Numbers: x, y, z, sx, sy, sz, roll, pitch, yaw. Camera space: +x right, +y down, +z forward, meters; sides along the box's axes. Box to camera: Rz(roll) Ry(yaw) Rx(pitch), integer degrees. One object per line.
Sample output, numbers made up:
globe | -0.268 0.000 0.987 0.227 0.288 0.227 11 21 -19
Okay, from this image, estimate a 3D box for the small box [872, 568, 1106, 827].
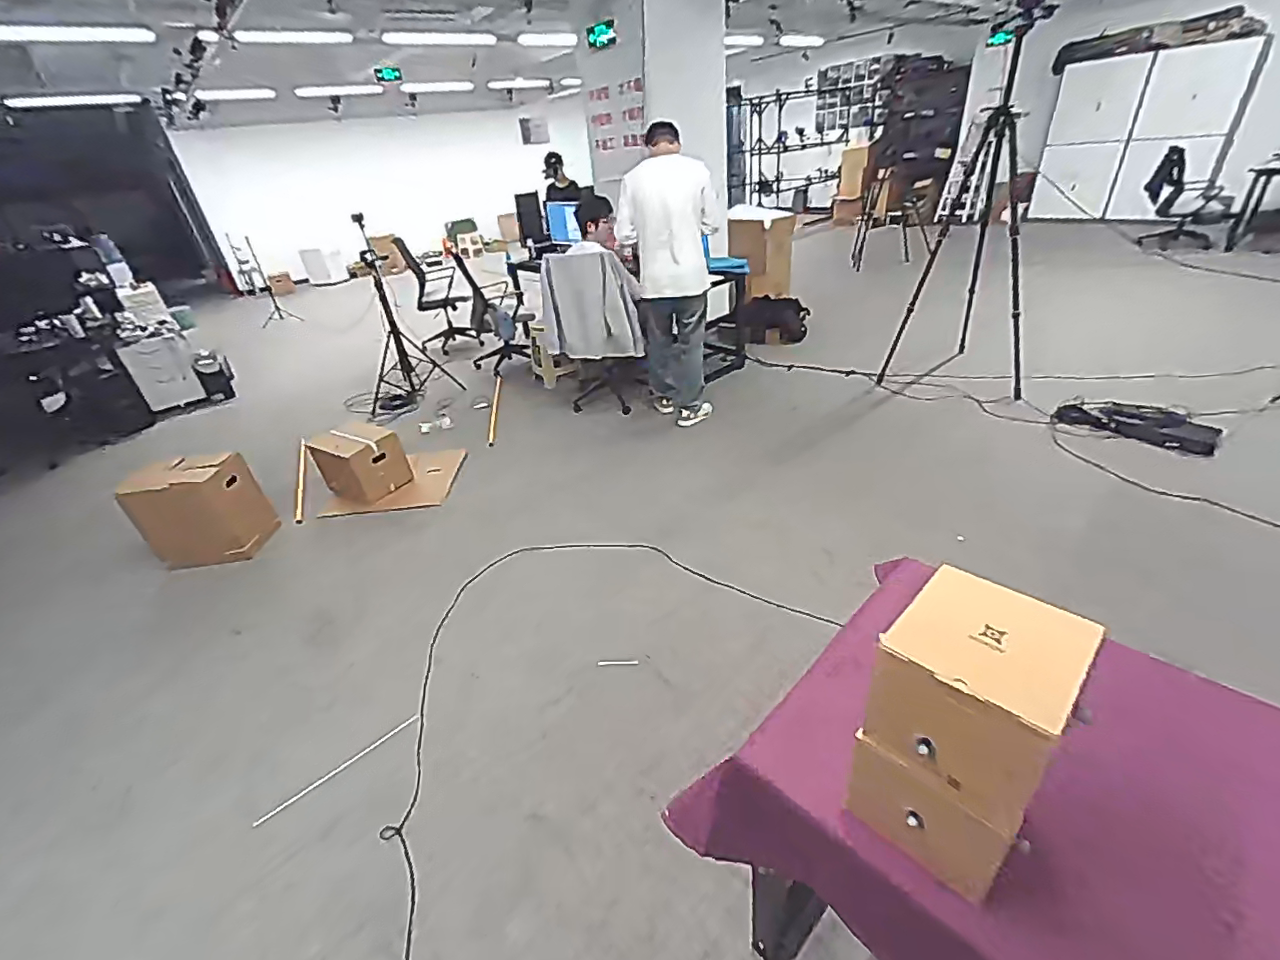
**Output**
small box | 0.386 0.240 0.621 0.179 0.176 0.168 -31 39 -33
